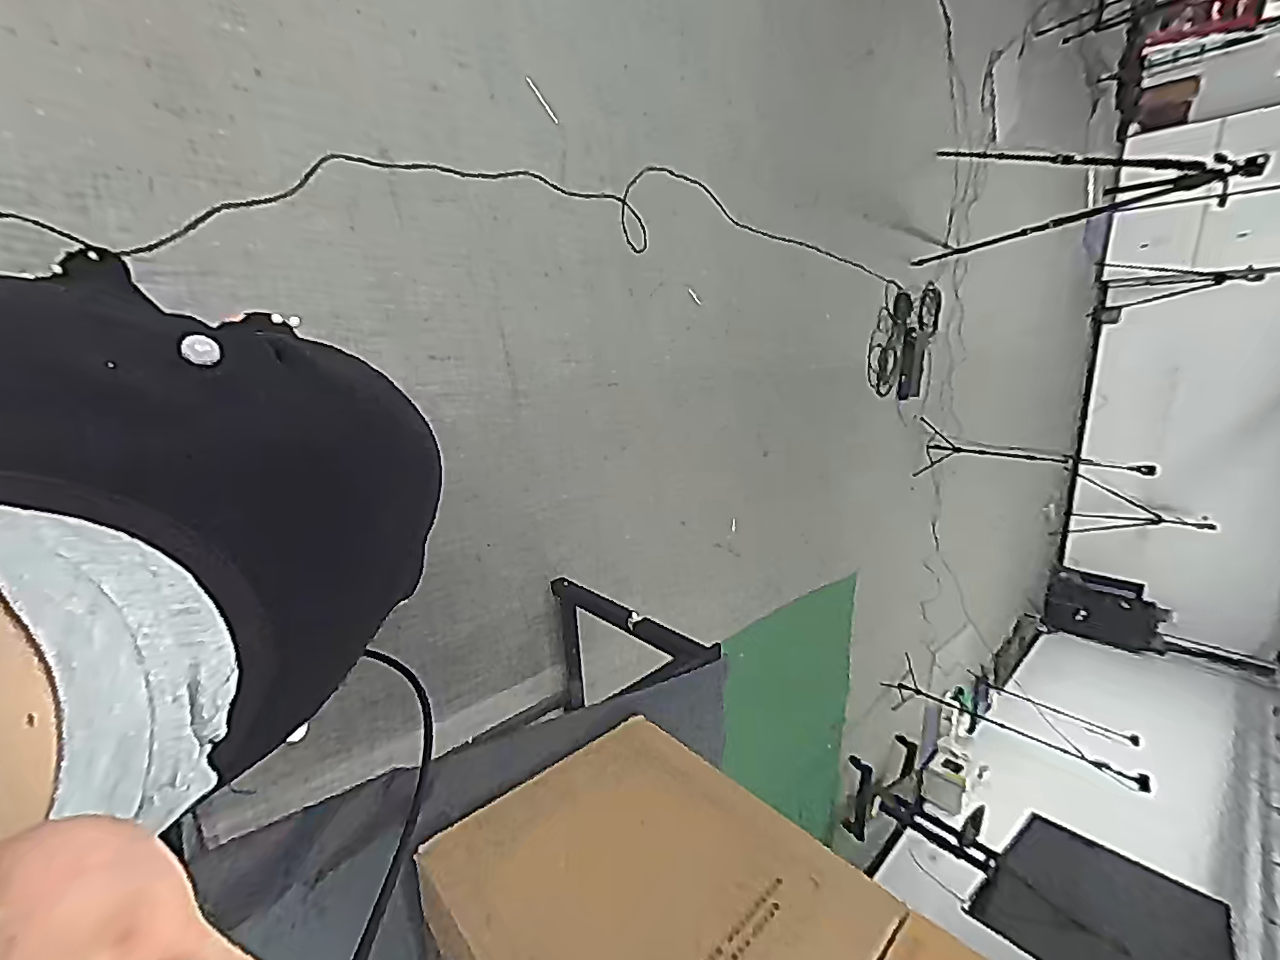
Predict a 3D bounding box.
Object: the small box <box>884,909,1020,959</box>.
[{"bbox_3d":[0.432,0.751,0.747,0.168,0.176,0.179,-12,108,-42],"label":"small box"}]
